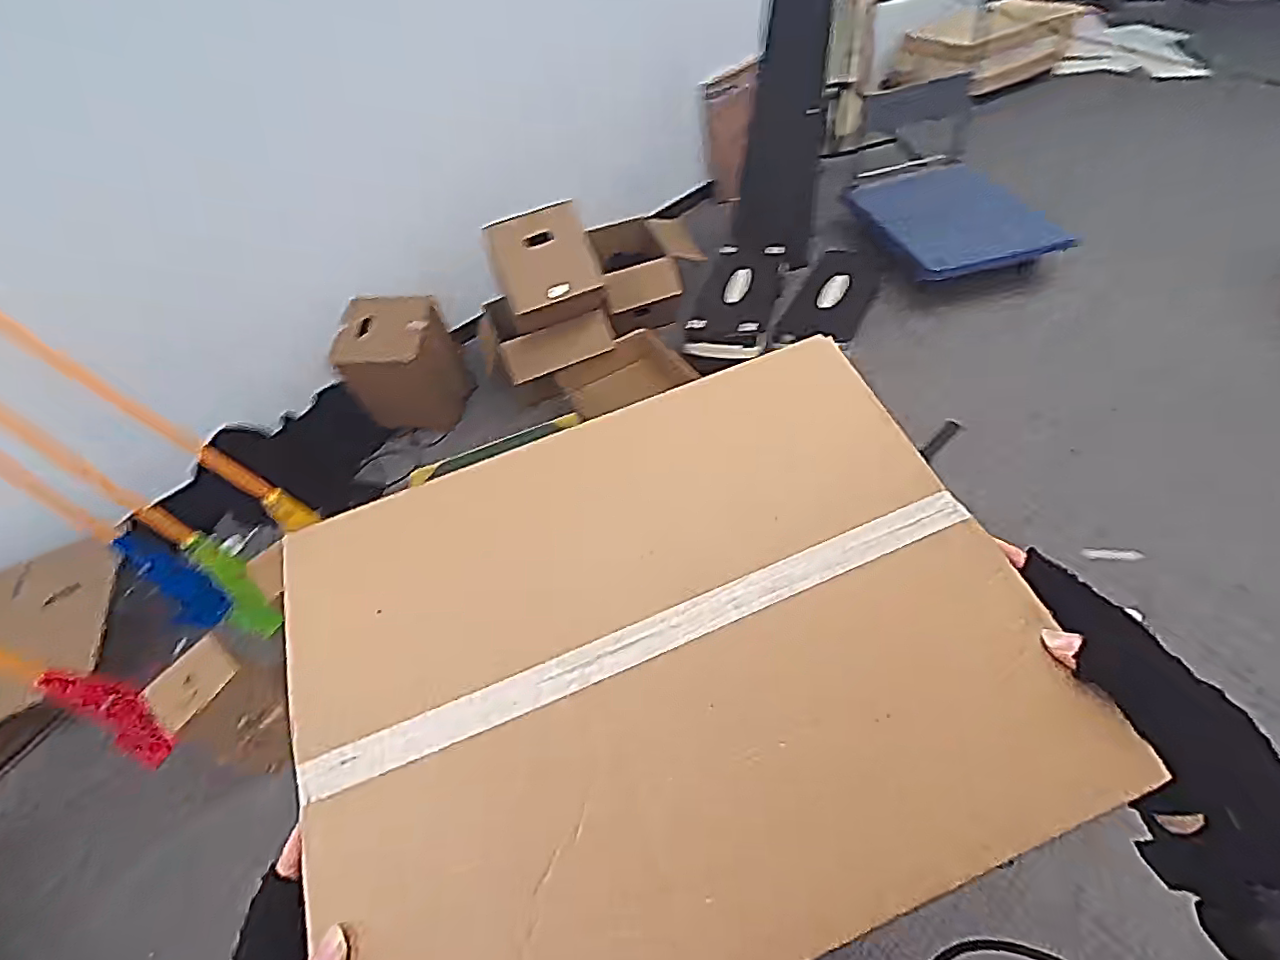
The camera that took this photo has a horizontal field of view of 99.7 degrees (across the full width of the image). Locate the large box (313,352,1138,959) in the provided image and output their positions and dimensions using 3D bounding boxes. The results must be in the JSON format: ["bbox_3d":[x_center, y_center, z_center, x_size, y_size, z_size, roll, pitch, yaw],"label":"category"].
[{"bbox_3d":[0.029,0.166,0.449,0.408,0.320,0.320,-22,61,-4],"label":"large box"}]
